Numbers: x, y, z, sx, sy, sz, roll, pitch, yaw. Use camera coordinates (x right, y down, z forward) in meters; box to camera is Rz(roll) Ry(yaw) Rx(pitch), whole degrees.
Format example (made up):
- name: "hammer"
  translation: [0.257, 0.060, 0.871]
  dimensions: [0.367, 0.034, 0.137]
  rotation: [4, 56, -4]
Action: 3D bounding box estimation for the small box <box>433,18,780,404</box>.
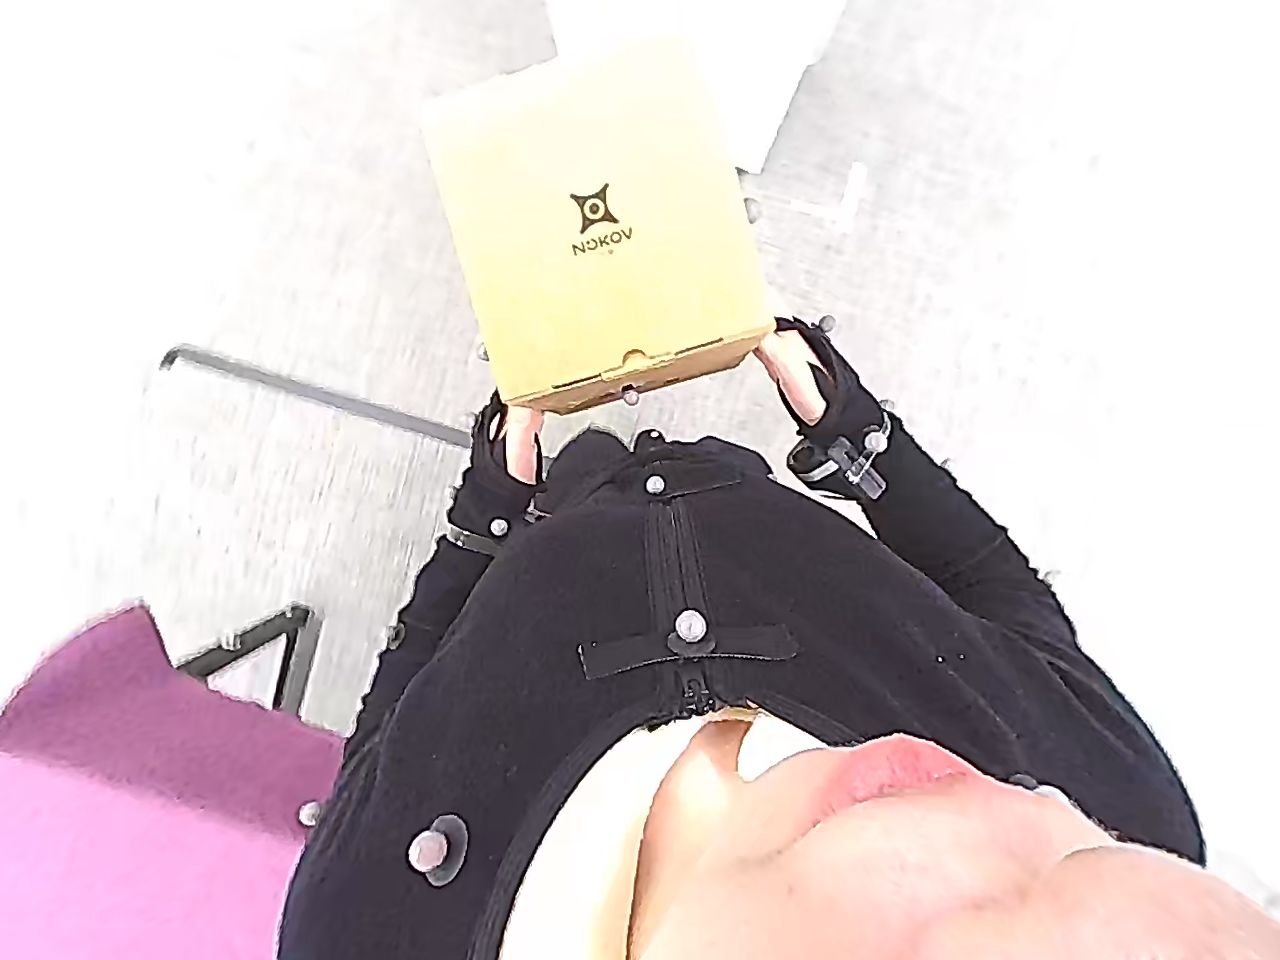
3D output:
- name: "small box"
  translation: [-0.017, -0.159, 0.385]
  dimensions: [0.168, 0.176, 0.179]
  rotation: [-14, 96, 3]
